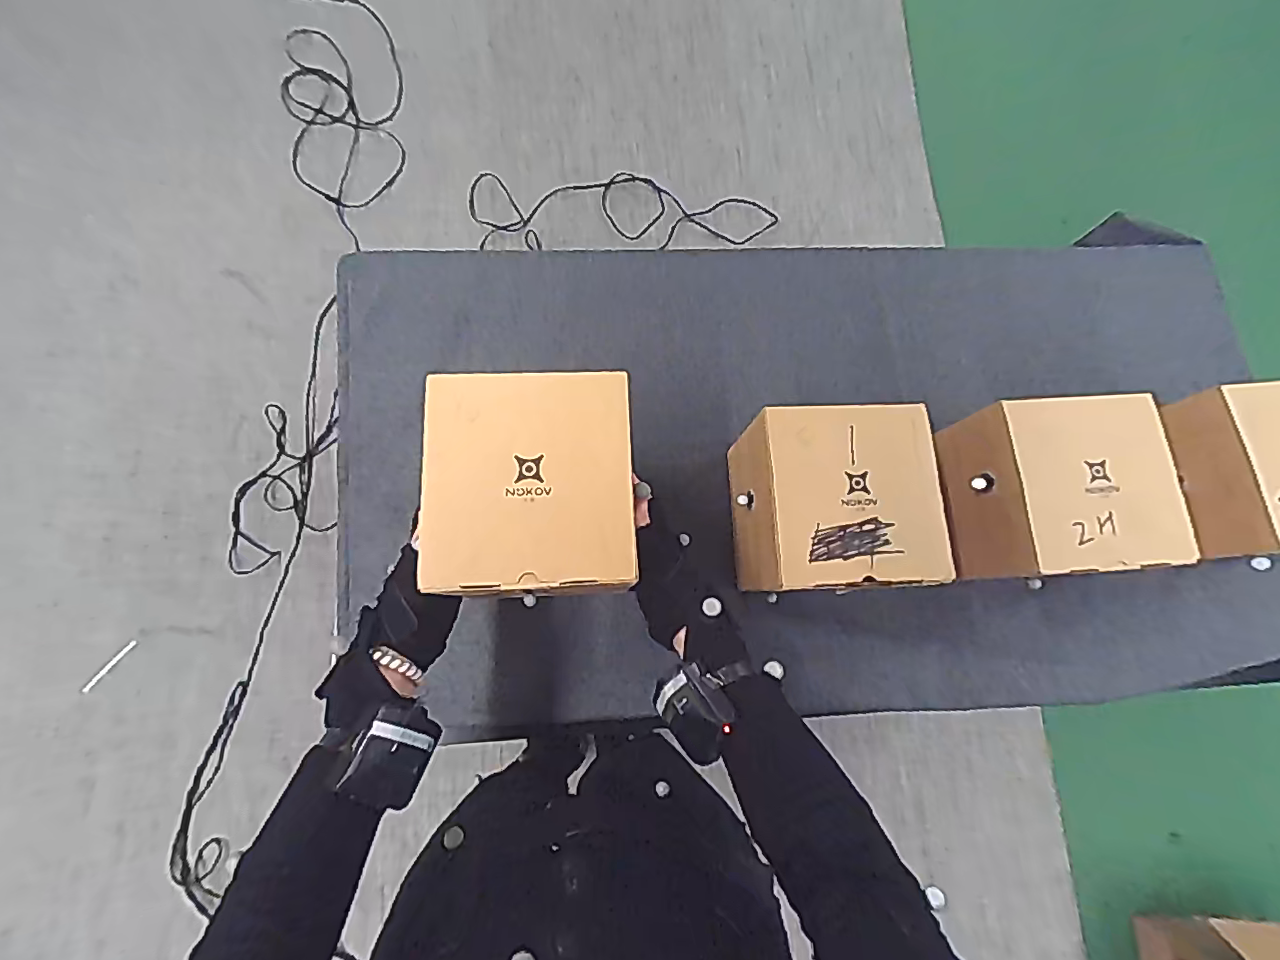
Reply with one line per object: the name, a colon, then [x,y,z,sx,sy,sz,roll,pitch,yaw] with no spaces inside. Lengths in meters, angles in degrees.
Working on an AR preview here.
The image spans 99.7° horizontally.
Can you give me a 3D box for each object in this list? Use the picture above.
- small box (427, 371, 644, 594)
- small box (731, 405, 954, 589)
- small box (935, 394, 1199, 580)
small box: [-0.089,0.013,0.506,0.168,0.176,0.179,-2,78,-6]
small box: [0.201,0.028,0.589,0.168,0.176,0.179,-1,77,-4]
small box: [0.443,0.017,0.606,0.168,0.176,0.179,-3,78,-4]
